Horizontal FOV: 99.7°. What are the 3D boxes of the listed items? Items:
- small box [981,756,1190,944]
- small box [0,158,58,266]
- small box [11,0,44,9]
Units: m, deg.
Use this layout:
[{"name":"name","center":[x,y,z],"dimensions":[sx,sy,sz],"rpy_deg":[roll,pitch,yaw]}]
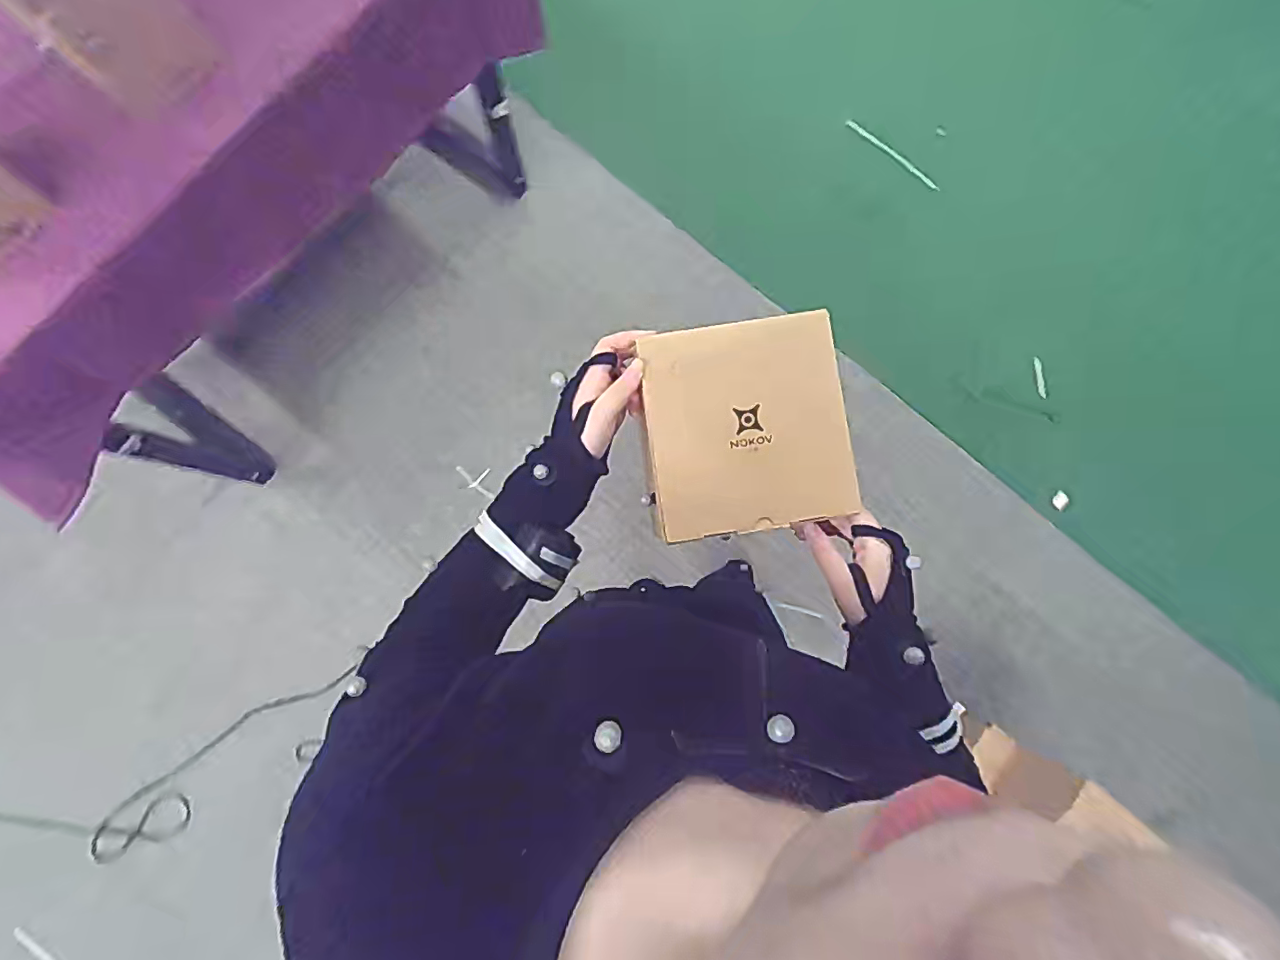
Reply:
[{"name":"small box","center":[0.733,0.601,0.913],"dimensions":[0.179,0.176,0.168],"rpy_deg":[42,84,6]},{"name":"small box","center":[-1.006,-0.420,0.751],"dimensions":[0.179,0.176,0.168],"rpy_deg":[38,82,5]},{"name":"small box","center":[-0.795,-0.721,0.640],"dimensions":[0.179,0.176,0.168],"rpy_deg":[37,81,6]}]
